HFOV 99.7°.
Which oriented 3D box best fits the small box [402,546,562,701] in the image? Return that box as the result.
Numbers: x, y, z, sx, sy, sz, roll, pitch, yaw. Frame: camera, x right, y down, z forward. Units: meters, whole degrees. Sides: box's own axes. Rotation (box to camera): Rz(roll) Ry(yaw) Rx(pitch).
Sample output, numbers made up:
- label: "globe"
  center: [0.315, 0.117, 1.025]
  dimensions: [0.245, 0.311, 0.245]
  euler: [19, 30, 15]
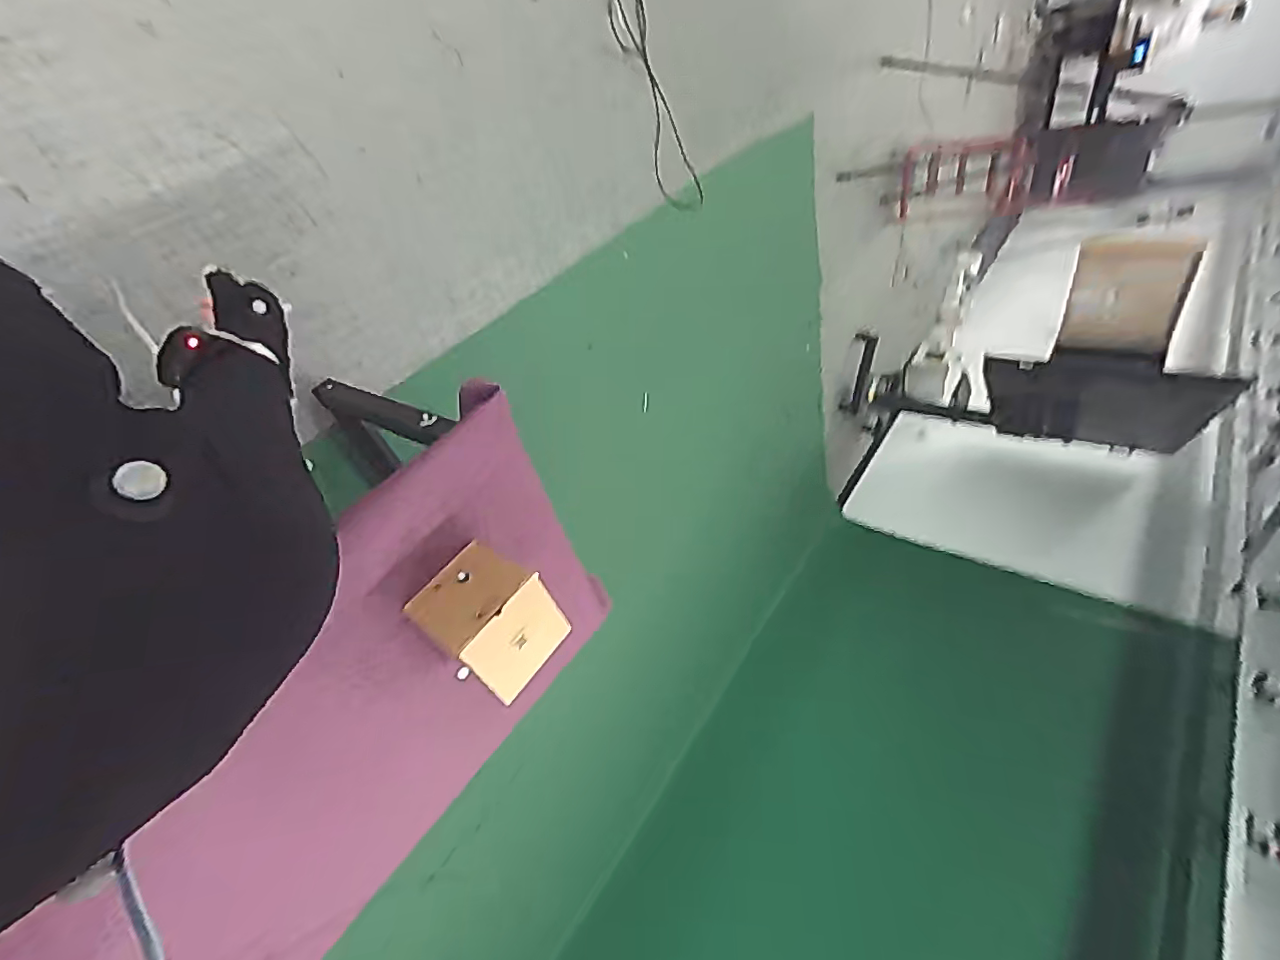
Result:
- label: "small box"
  center: [-0.273, 0.243, 0.948]
  dimensions: [0.168, 0.176, 0.179]
  euler: [-48, 137, -27]
